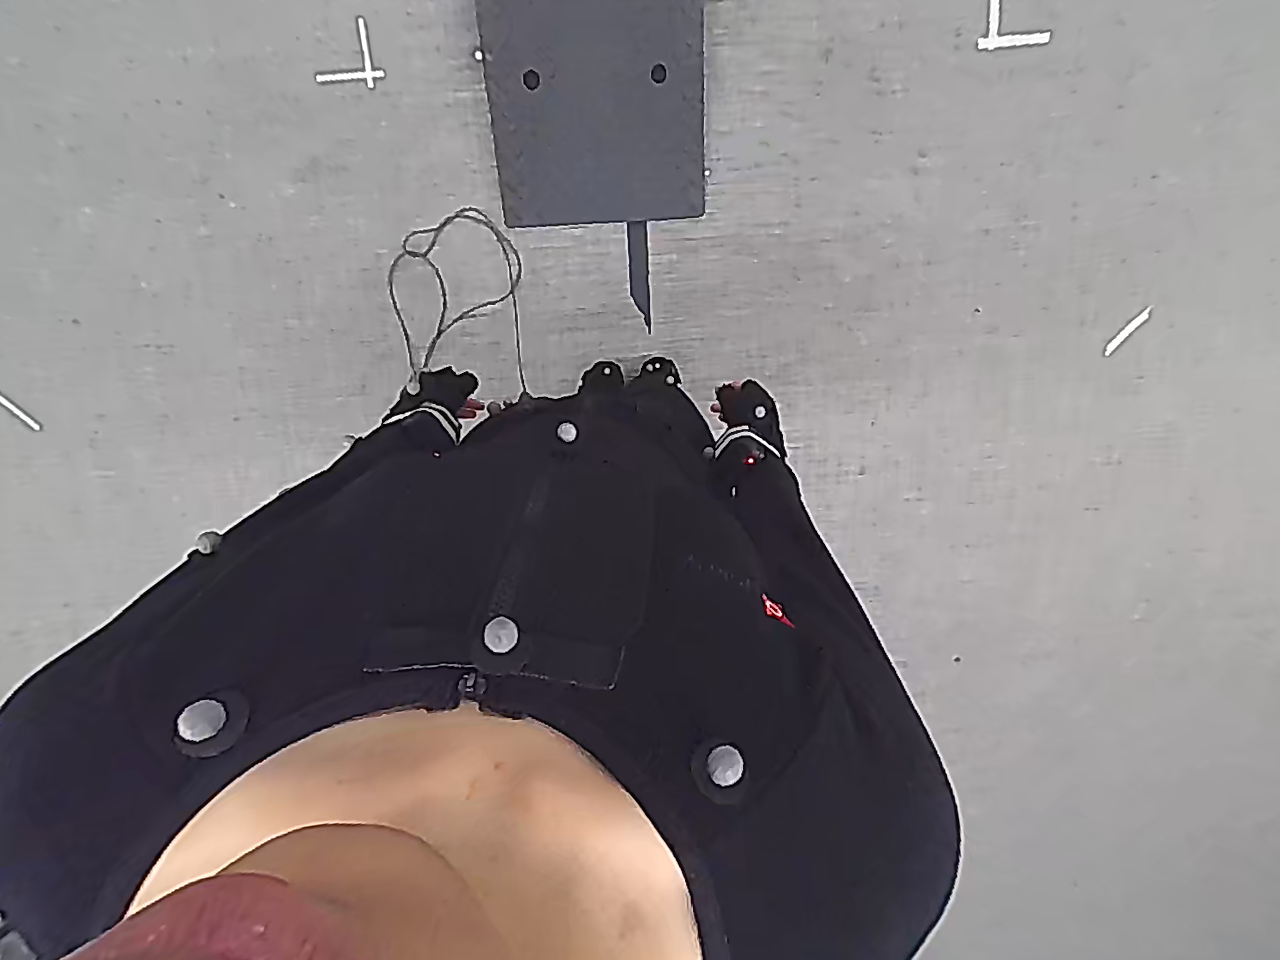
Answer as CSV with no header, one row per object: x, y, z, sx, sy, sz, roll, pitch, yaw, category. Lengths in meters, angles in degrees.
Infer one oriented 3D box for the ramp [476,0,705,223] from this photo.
-0.108,-1.101,1.129,0.509,0.206,0.991,-6,104,-2,ramp
